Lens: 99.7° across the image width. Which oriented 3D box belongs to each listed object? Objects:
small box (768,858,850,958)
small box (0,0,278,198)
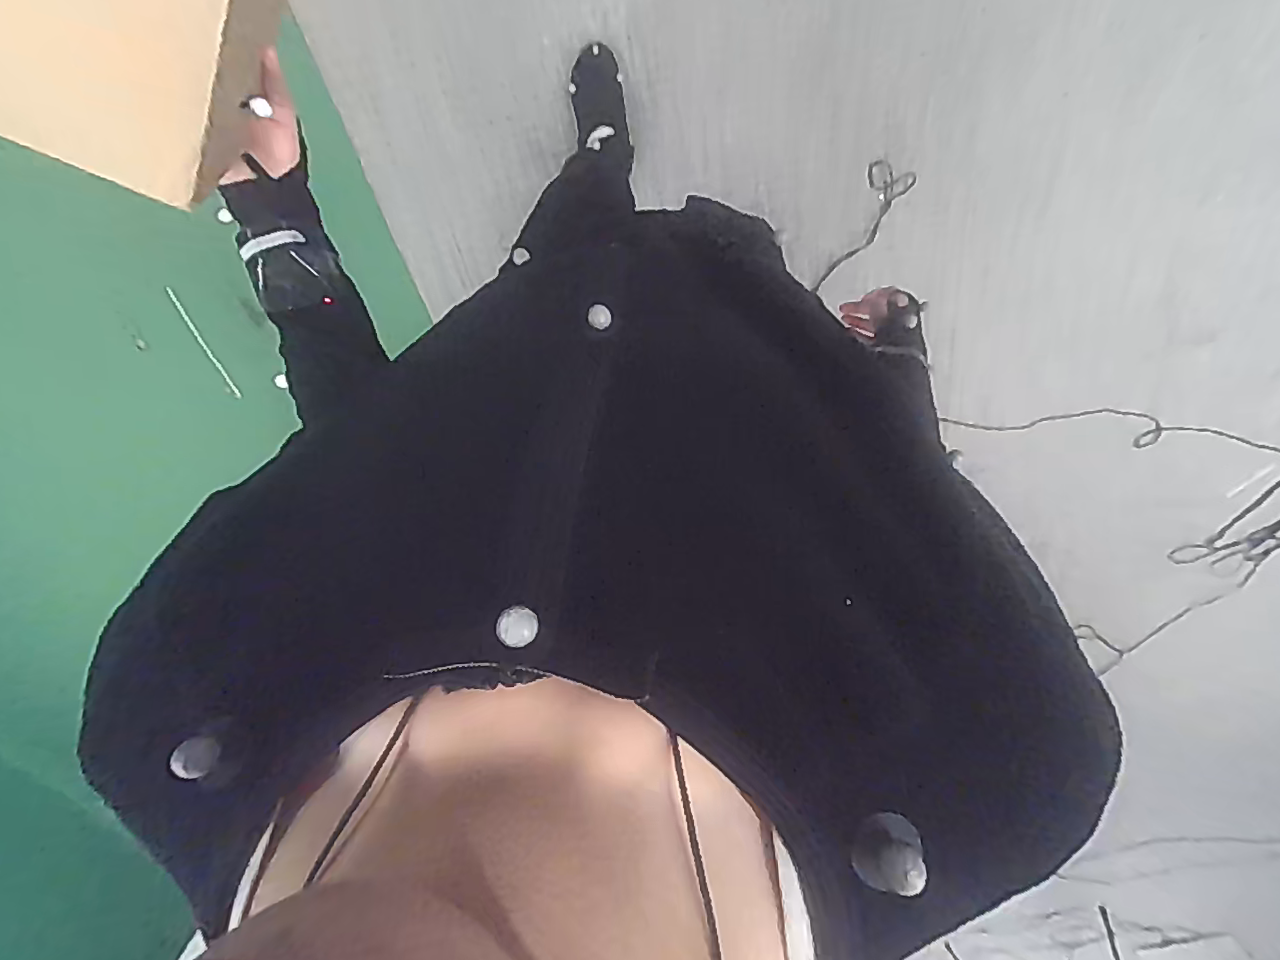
[{"bbox_3d":[0.448,1.138,1.443,0.179,0.176,0.168,-9,120,8],"label":"small box"},{"bbox_3d":[-0.282,-0.284,0.262,0.168,0.179,0.176,17,124,-35],"label":"small box"}]
